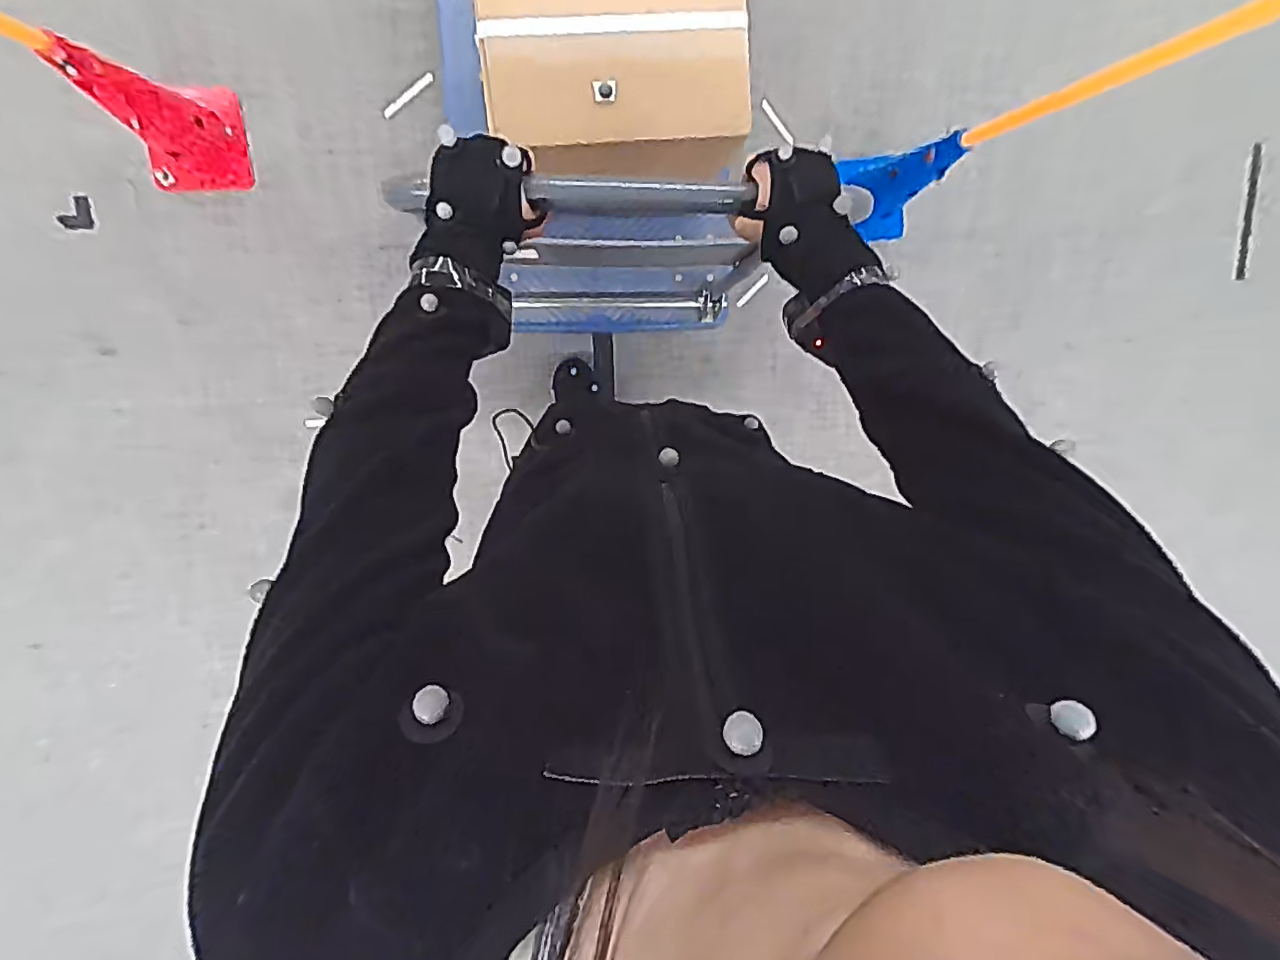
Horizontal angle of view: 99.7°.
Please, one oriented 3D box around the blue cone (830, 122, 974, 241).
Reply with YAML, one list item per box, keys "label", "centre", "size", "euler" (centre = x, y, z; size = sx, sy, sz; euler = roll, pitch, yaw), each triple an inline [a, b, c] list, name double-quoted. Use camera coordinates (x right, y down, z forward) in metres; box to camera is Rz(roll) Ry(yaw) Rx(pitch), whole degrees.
- label: "blue cone"
  centre: [0.602, -0.687, 1.218]
  size: [0.193, 0.380, 0.192]
  euler: [-7, 100, -7]
